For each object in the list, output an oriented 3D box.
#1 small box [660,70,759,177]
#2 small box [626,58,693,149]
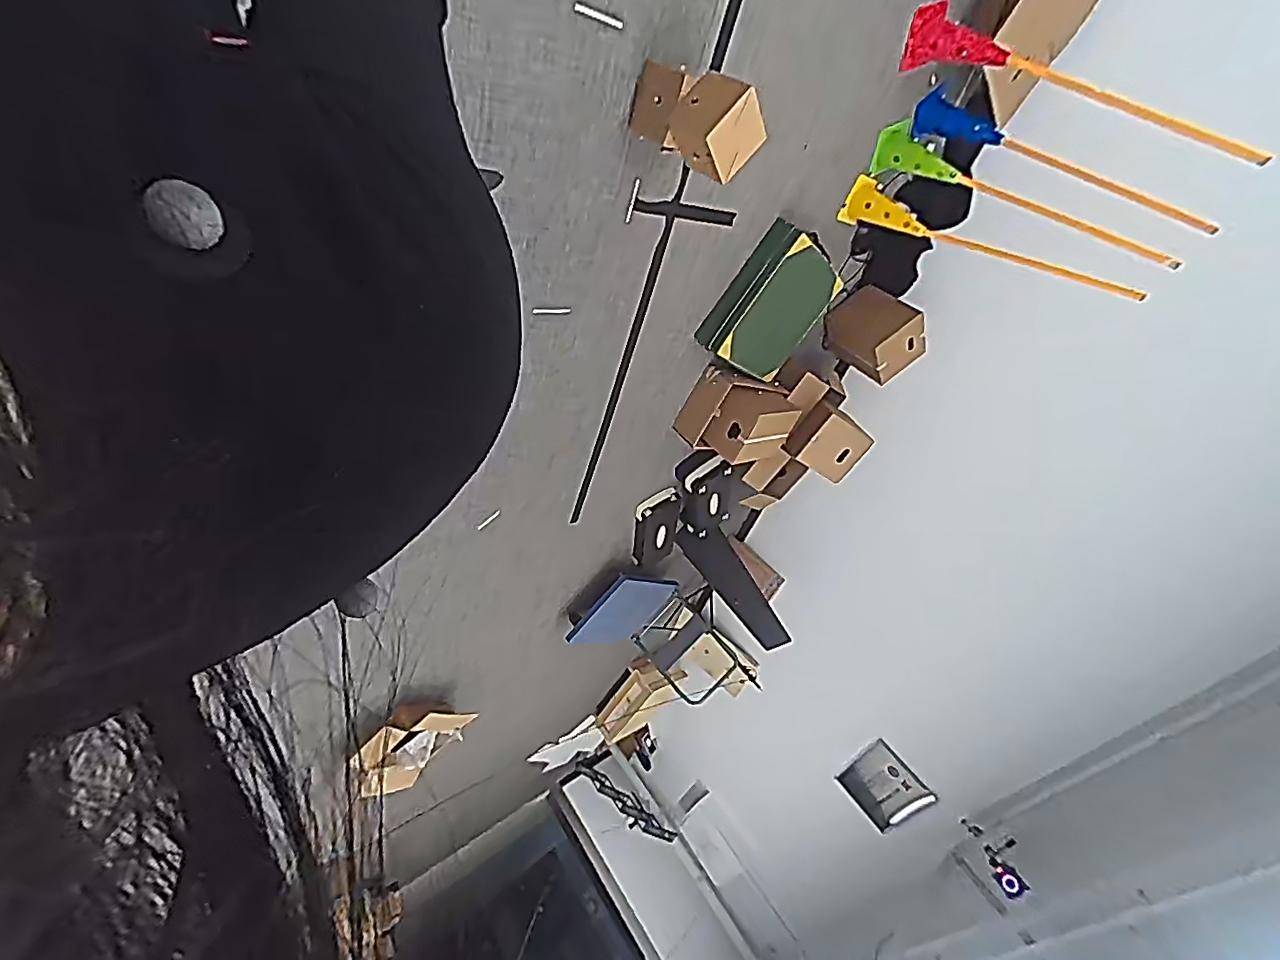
[{"bbox_3d":[0.194,-0.970,1.485,0.179,0.176,0.168,-48,151,6],"label":"small box"},{"bbox_3d":[0.084,-1.073,1.558,0.168,0.176,0.179,-16,140,-41],"label":"small box"}]
